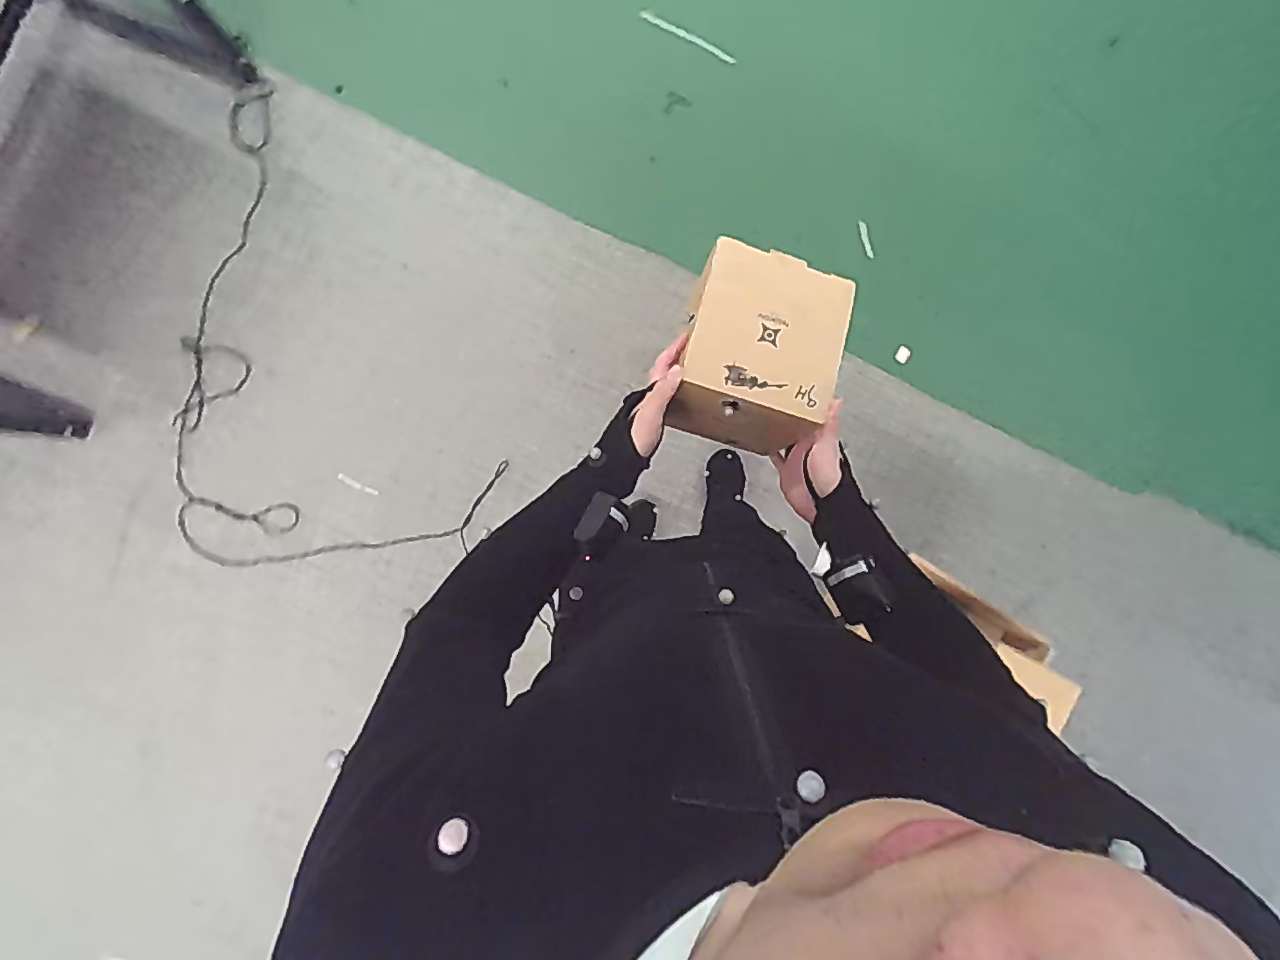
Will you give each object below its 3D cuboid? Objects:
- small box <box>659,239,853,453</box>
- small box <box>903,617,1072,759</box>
[{"bbox_3d":[0.130,-0.149,0.663,0.168,0.176,0.179,16,79,-6],"label":"small box"},{"bbox_3d":[0.652,0.384,1.035,0.179,0.176,0.168,29,89,-4],"label":"small box"}]
